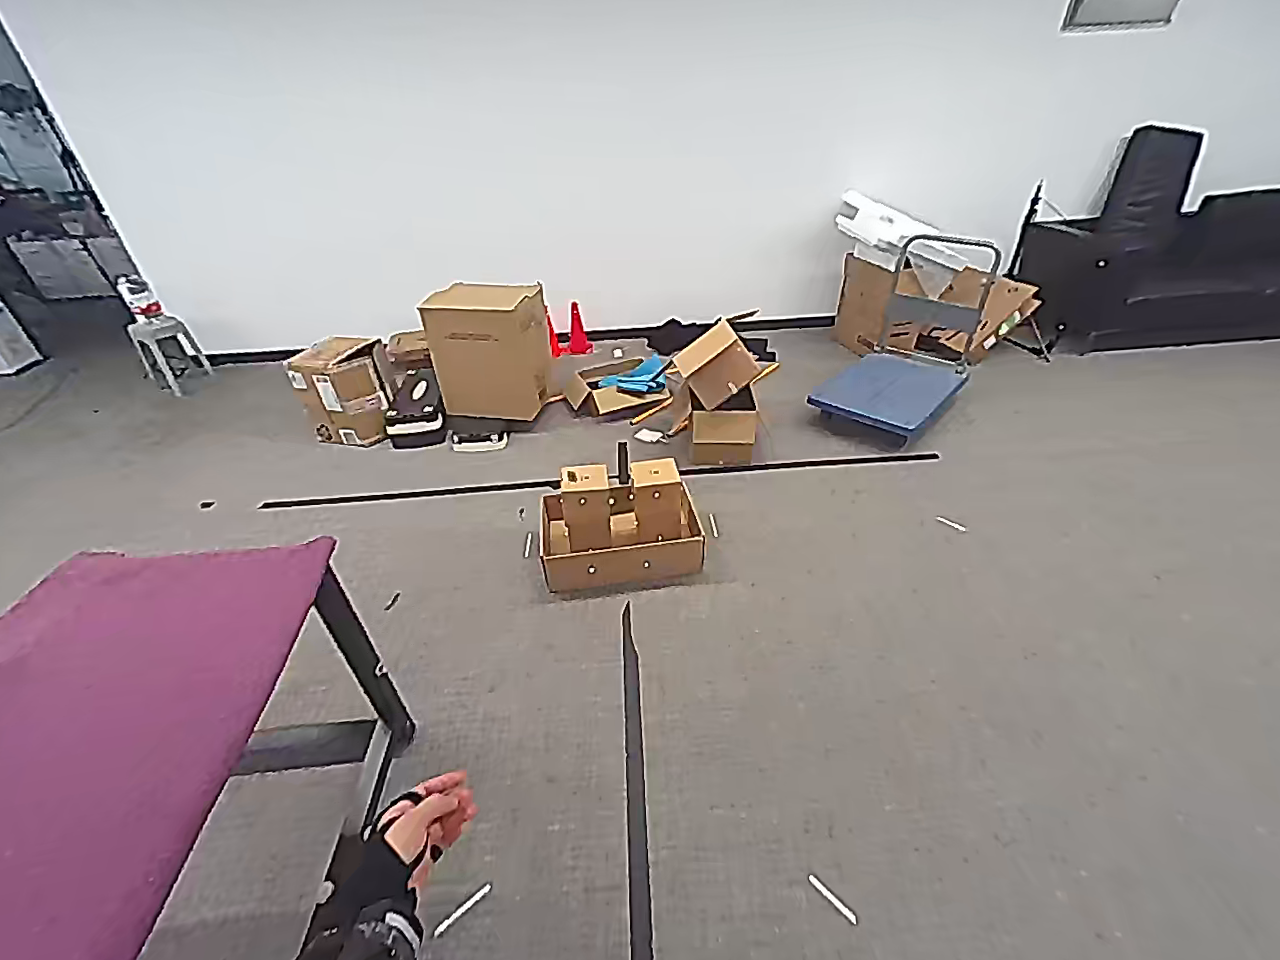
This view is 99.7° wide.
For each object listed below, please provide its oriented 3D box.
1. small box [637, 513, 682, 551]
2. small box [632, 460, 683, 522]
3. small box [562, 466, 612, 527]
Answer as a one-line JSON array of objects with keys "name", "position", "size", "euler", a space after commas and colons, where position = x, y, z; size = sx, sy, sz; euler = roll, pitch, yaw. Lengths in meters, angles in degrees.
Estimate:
[{"name": "small box", "position": [0.076, 0.175, 2.183], "size": [0.168, 0.176, 0.179], "euler": [-6, 34, -4]}, {"name": "small box", "position": [0.065, 0.043, 2.088], "size": [0.179, 0.176, 0.168], "euler": [-7, 35, -4]}, {"name": "small box", "position": [-0.201, 0.065, 2.073], "size": [0.179, 0.176, 0.168], "euler": [-4, 35, -5]}]
